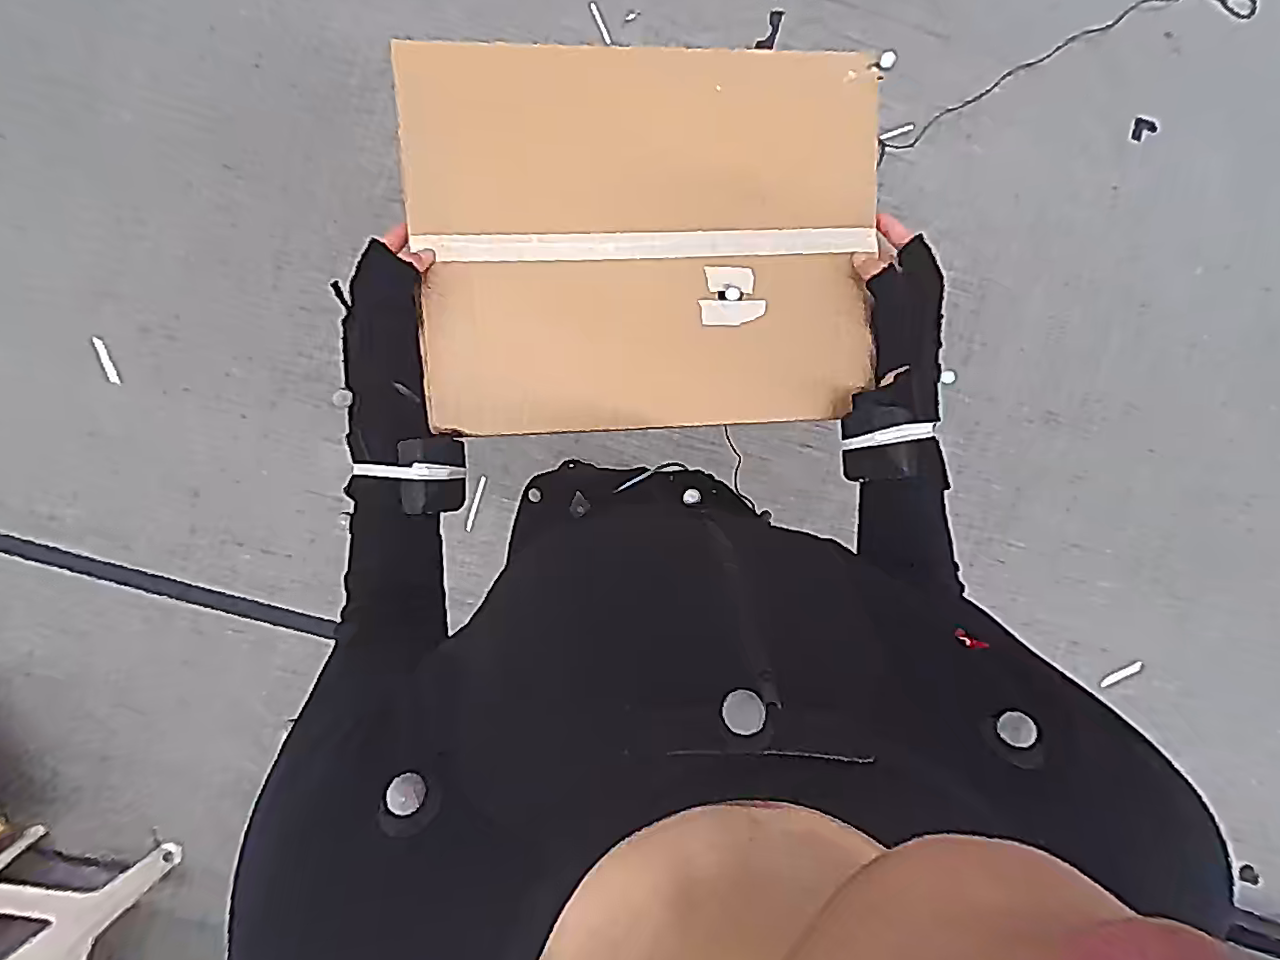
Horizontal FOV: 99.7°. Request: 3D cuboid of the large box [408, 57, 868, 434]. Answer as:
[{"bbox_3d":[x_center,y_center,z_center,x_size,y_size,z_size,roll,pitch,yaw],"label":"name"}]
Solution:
[{"bbox_3d":[-0.006,-0.226,0.629,0.408,0.320,0.320,-3,99,-6],"label":"large box"}]
